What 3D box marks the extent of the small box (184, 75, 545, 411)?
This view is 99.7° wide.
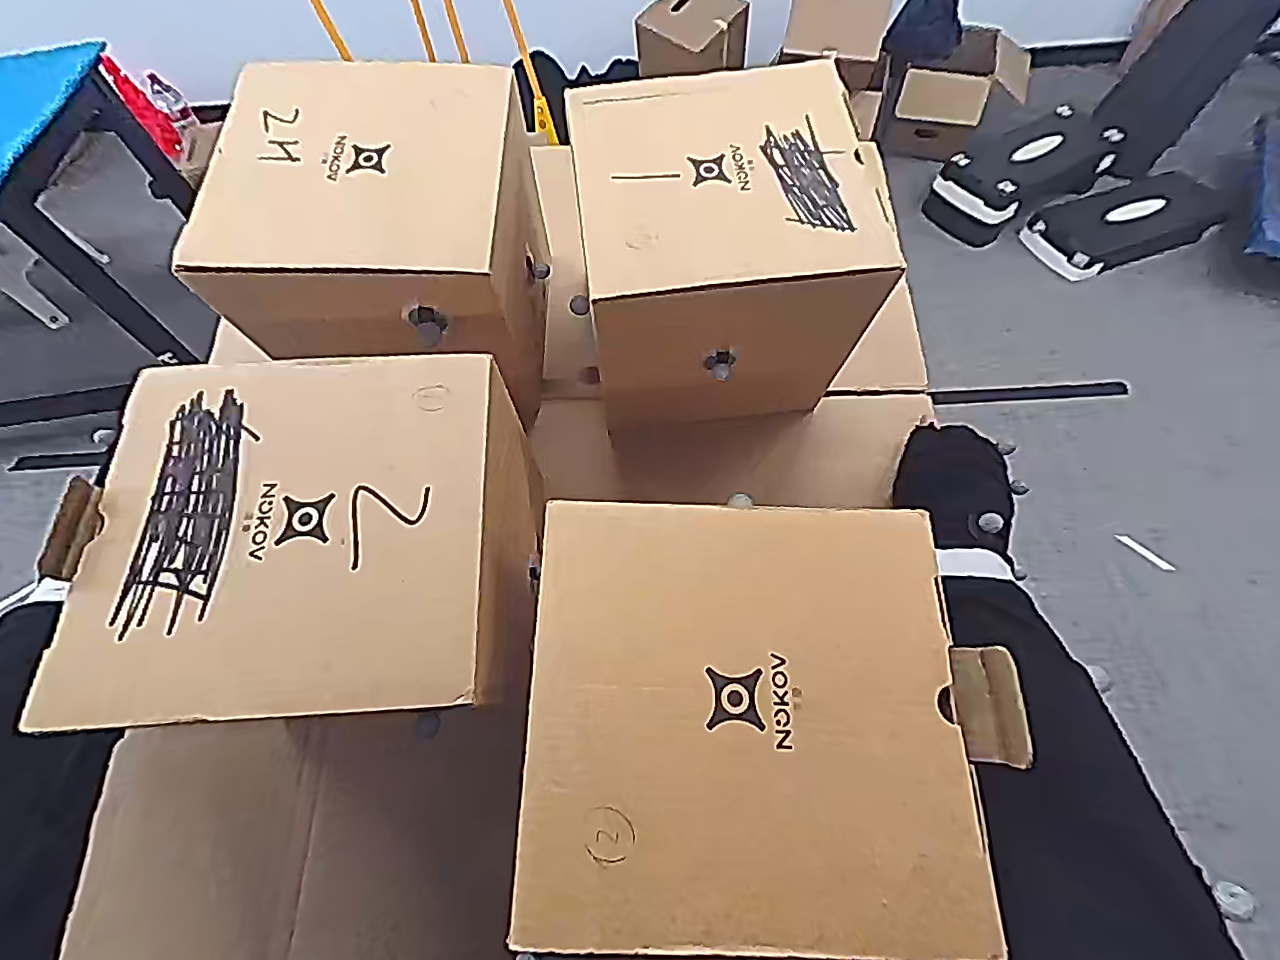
[{"bbox_3d":[-0.173,-0.162,0.409,0.179,0.176,0.168,0,69,1],"label":"small box"}]
